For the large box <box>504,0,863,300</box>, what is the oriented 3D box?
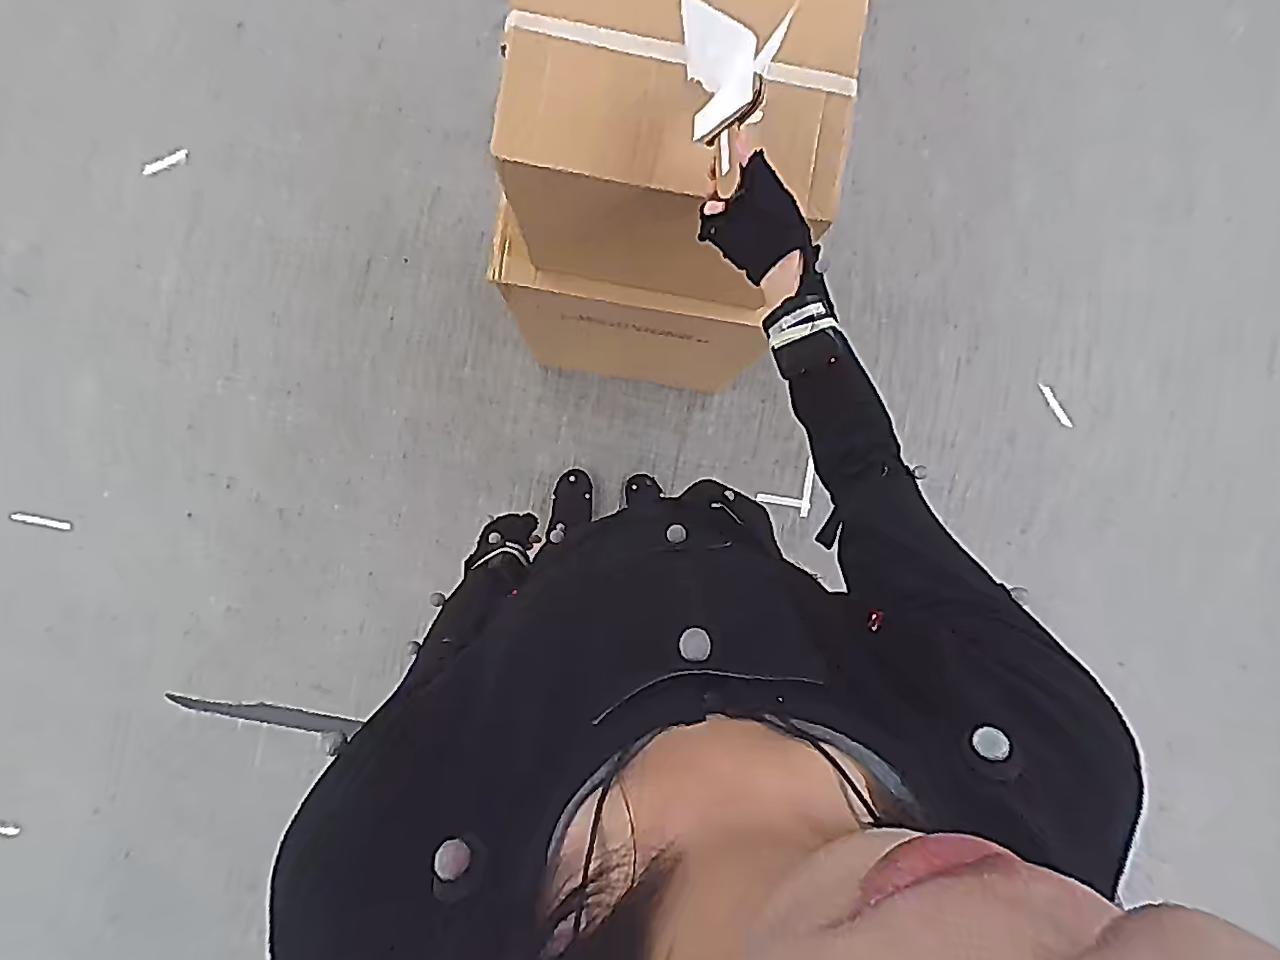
[{"bbox_3d":[0.045,-0.491,0.786,0.408,0.320,0.320,9,89,-4],"label":"large box"}]
